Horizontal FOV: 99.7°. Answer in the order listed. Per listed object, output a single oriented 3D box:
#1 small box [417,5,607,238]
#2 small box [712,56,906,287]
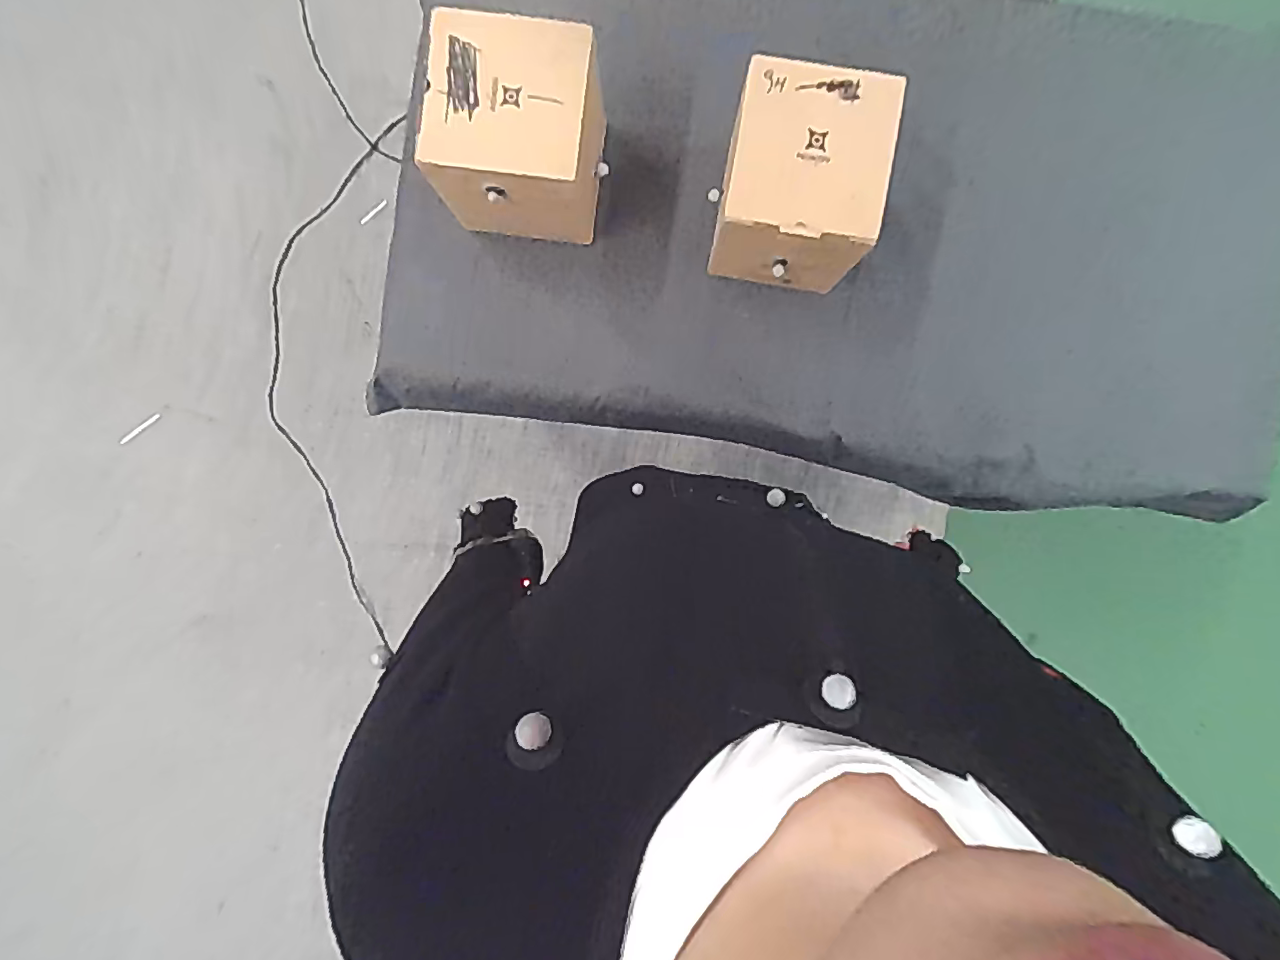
[{"bbox_3d":[-0.141,-0.413,0.652,0.179,0.176,0.168,8,92,0],"label":"small box"},{"bbox_3d":[0.185,-0.349,0.648,0.168,0.176,0.179,10,92,1],"label":"small box"}]
